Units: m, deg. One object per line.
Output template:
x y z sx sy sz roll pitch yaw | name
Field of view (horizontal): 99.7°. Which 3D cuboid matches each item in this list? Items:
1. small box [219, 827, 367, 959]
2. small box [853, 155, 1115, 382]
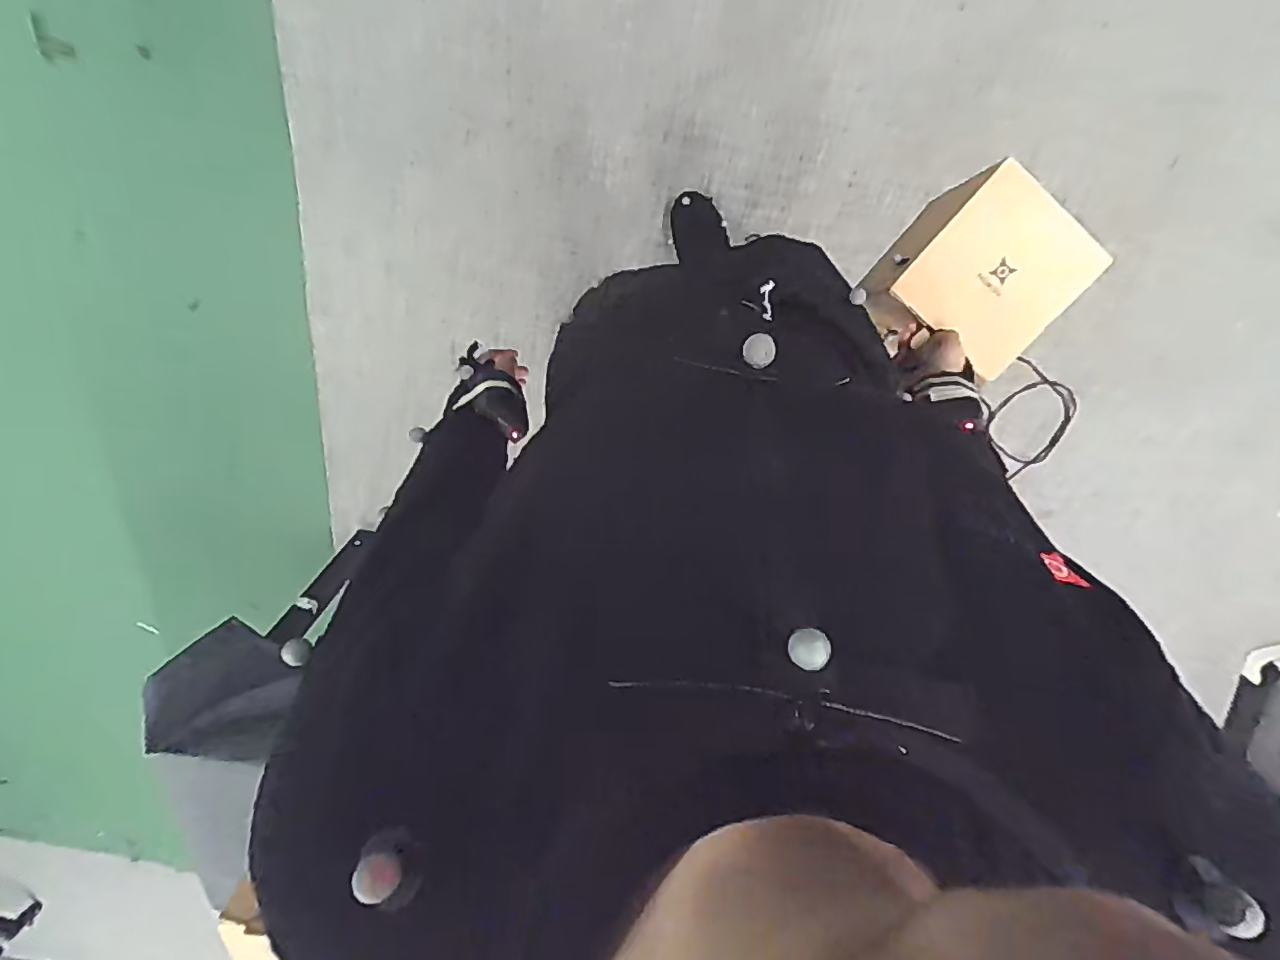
-0.648 0.800 1.034 0.168 0.176 0.179 10 121 -1 | small box
0.398 -0.244 0.663 0.168 0.176 0.179 39 103 -7 | small box
